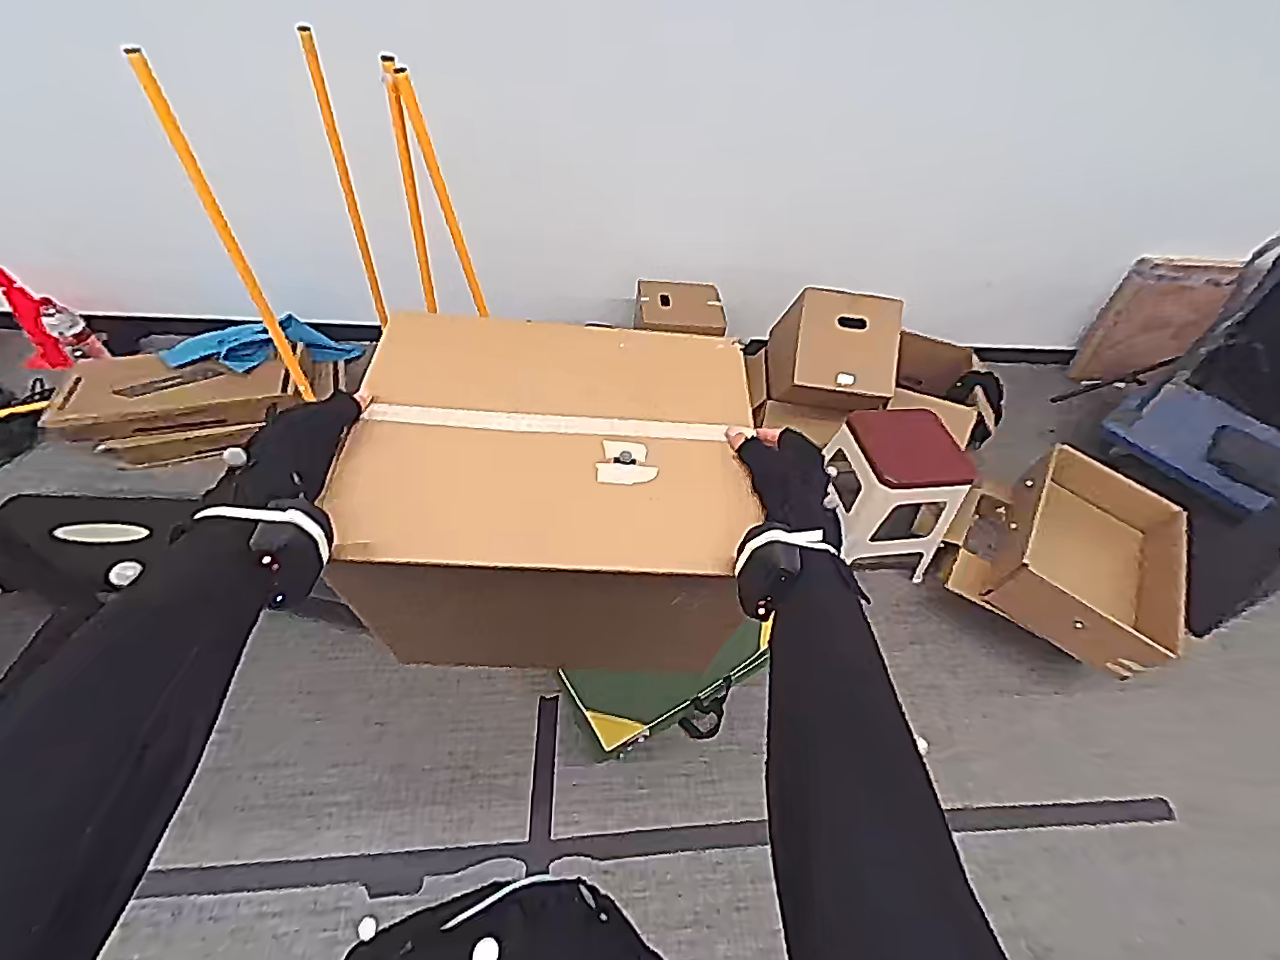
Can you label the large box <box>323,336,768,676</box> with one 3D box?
[{"bbox_3d":[-0.097,0.049,0.685,0.408,0.320,0.320,3,55,-6],"label":"large box"}]
